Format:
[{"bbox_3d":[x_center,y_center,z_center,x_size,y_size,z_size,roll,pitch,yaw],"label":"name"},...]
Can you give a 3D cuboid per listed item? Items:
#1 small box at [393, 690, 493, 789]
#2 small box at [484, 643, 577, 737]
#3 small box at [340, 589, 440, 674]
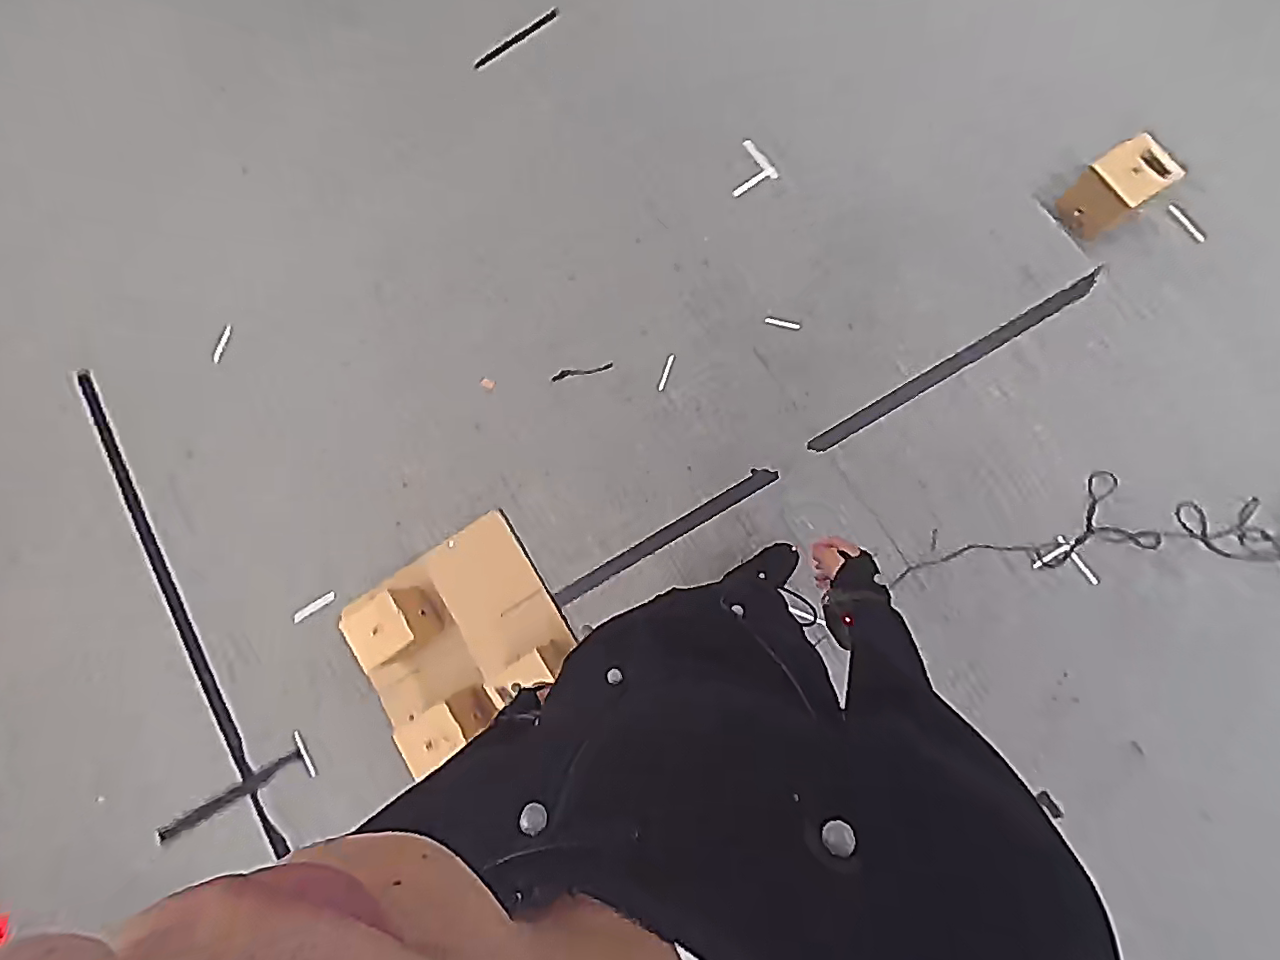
[{"bbox_3d":[-0.549,0.724,1.528,0.179,0.176,0.168,-34,80,0],"label":"small box"},{"bbox_3d":[-0.300,0.584,1.523,0.179,0.176,0.168,-34,80,-1],"label":"small box"},{"bbox_3d":[-0.730,0.441,1.597,0.179,0.176,0.168,-37,80,0],"label":"small box"}]
